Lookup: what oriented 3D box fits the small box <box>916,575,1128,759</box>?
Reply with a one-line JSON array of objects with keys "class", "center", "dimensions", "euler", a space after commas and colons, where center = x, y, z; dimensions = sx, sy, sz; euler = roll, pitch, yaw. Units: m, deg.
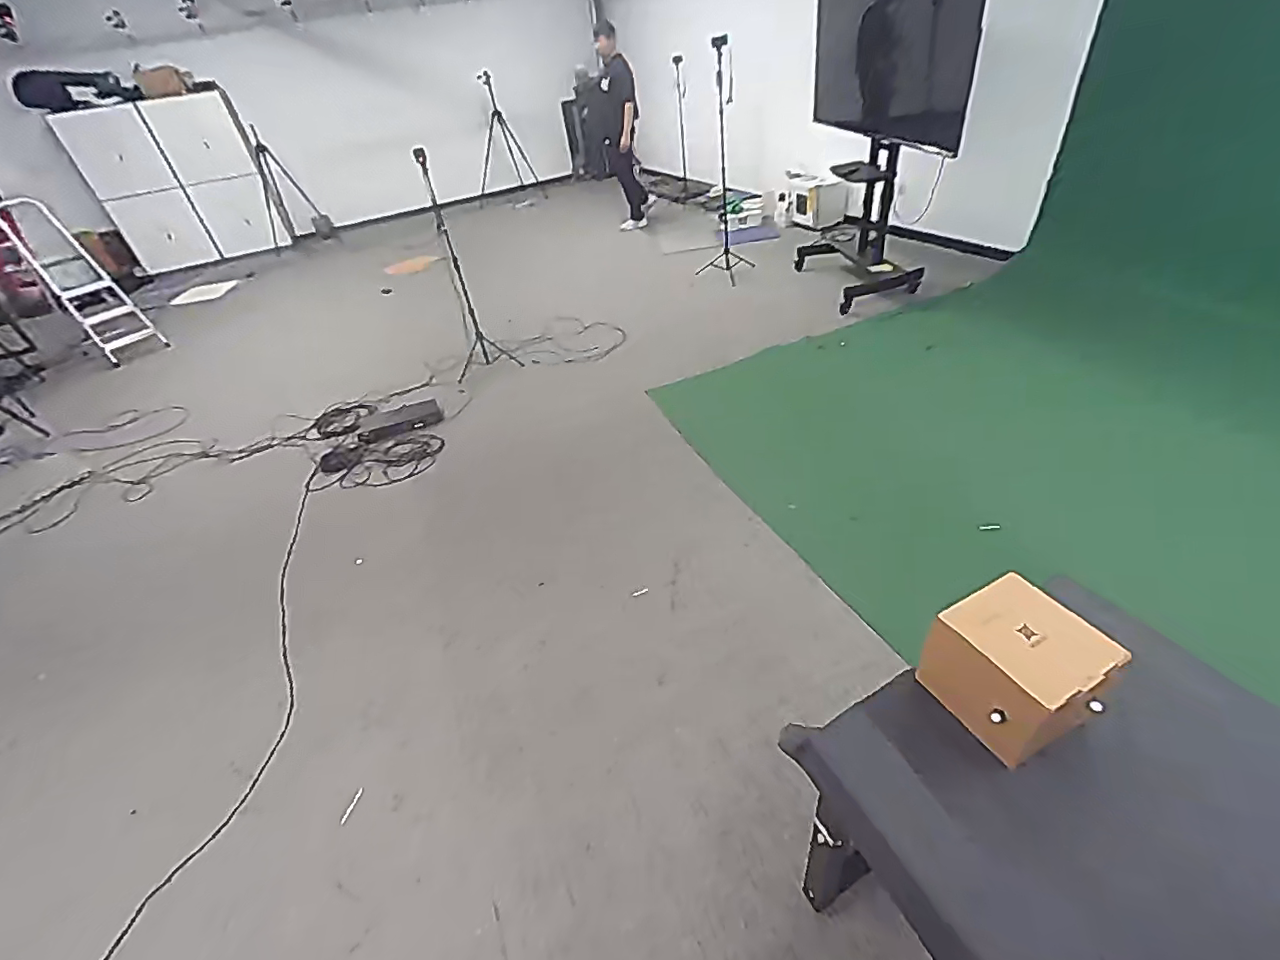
[{"class": "small box", "center": [0.555, 0.283, 0.811], "dimensions": [0.168, 0.176, 0.179], "euler": [-20, 39, -20]}]
